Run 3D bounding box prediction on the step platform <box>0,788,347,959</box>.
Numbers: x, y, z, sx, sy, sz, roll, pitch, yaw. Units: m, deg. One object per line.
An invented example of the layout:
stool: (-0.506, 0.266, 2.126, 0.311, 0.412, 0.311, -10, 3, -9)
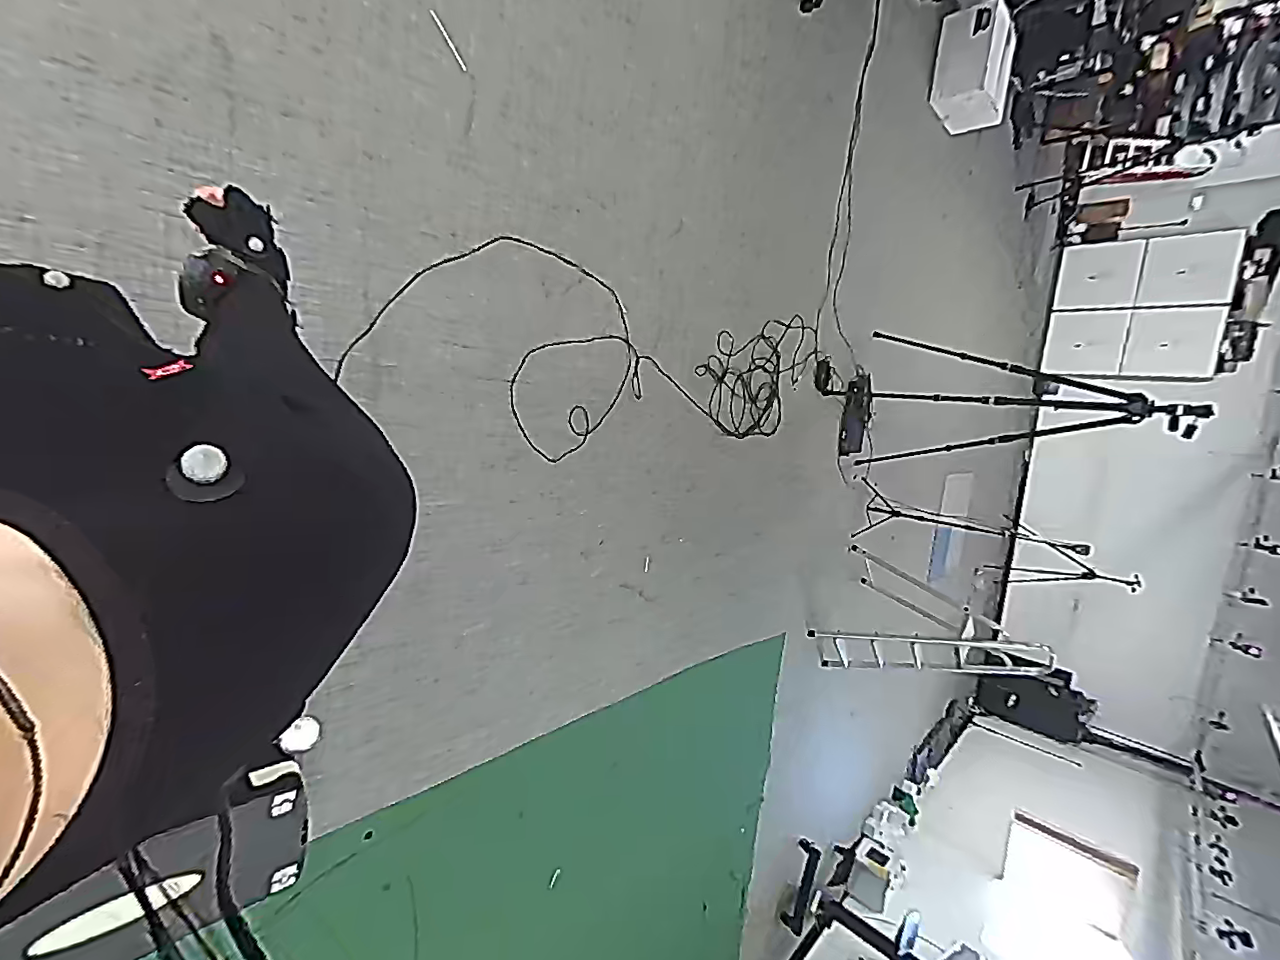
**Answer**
step platform: (-0.953, 0.884, 1.021, 0.684, 0.204, 0.286, -3, 102, -48)
